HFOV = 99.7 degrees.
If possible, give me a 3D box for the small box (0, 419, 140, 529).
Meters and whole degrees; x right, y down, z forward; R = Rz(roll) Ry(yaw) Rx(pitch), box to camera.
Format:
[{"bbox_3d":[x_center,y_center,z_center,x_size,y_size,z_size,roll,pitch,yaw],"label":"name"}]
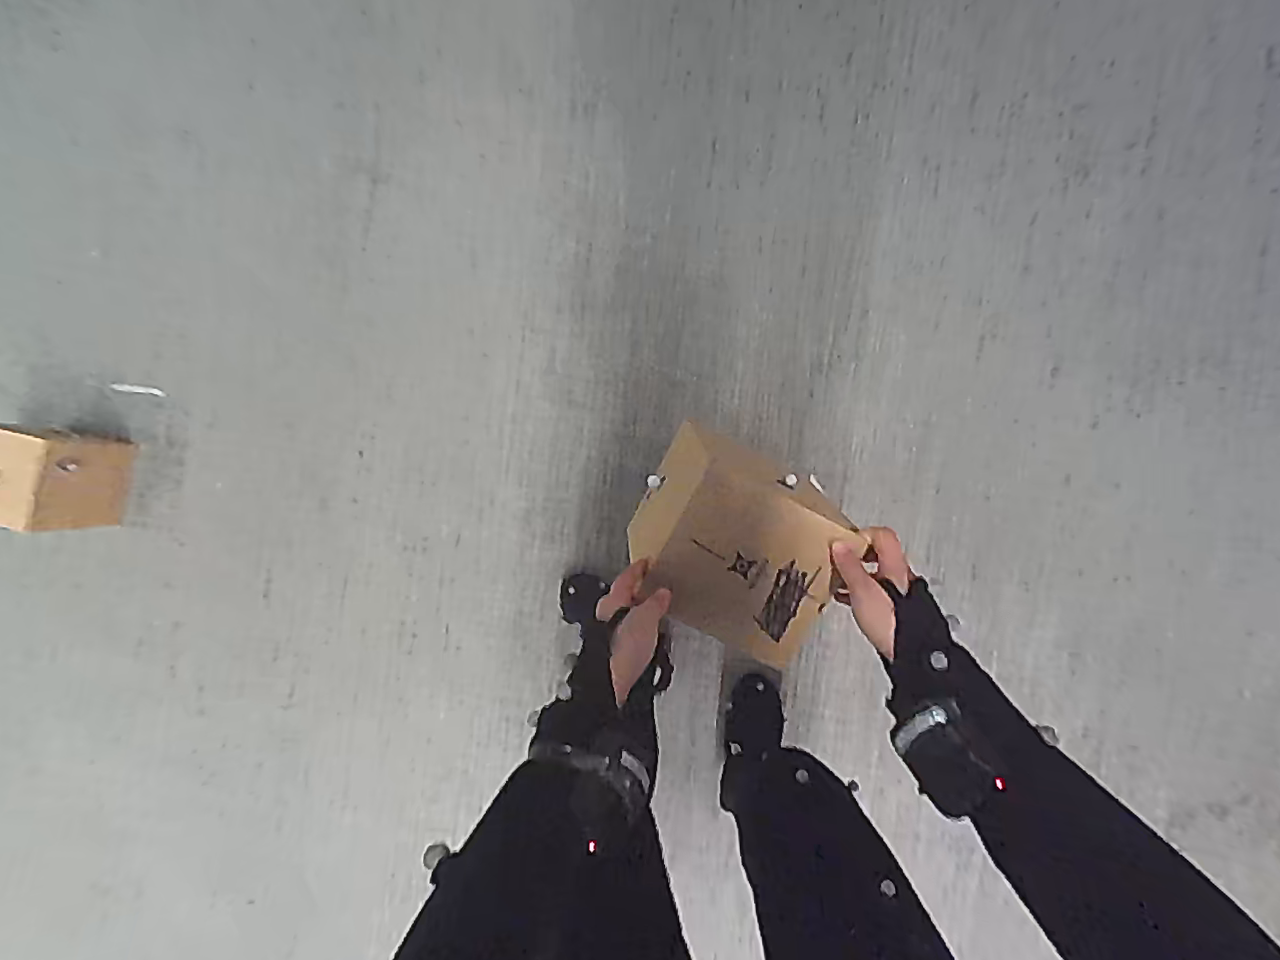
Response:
[{"bbox_3d":[-1.138,-0.014,1.054,0.168,0.176,0.179,13,91,3],"label":"small box"}]
